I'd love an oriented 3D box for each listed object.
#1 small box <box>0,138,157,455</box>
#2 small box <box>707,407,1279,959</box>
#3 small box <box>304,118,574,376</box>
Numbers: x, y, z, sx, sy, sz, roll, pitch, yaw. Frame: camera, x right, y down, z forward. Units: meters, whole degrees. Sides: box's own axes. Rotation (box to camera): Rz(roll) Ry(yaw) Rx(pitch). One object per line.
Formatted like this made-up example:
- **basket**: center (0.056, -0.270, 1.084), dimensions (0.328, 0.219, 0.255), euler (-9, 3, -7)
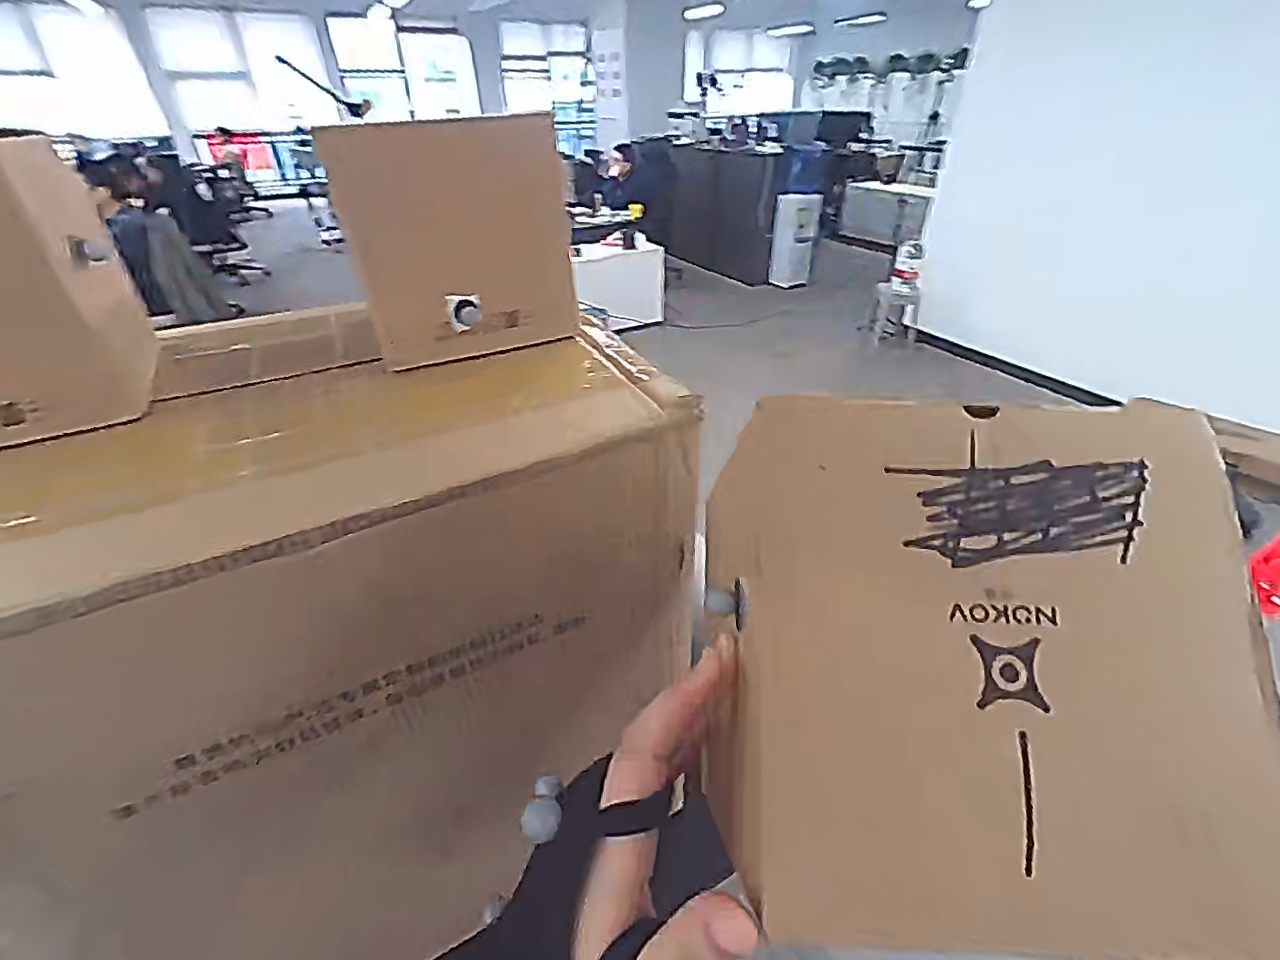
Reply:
- **small box**: center (-0.460, -0.116, 0.353), dimensions (0.168, 0.176, 0.179), euler (-21, 39, -27)
- **small box**: center (0.122, 0.081, 0.258), dimensions (0.168, 0.176, 0.179), euler (2, 74, 2)
- **small box**: center (-0.170, -0.209, 0.474), dimensions (0.168, 0.176, 0.179), euler (-20, 38, -20)
